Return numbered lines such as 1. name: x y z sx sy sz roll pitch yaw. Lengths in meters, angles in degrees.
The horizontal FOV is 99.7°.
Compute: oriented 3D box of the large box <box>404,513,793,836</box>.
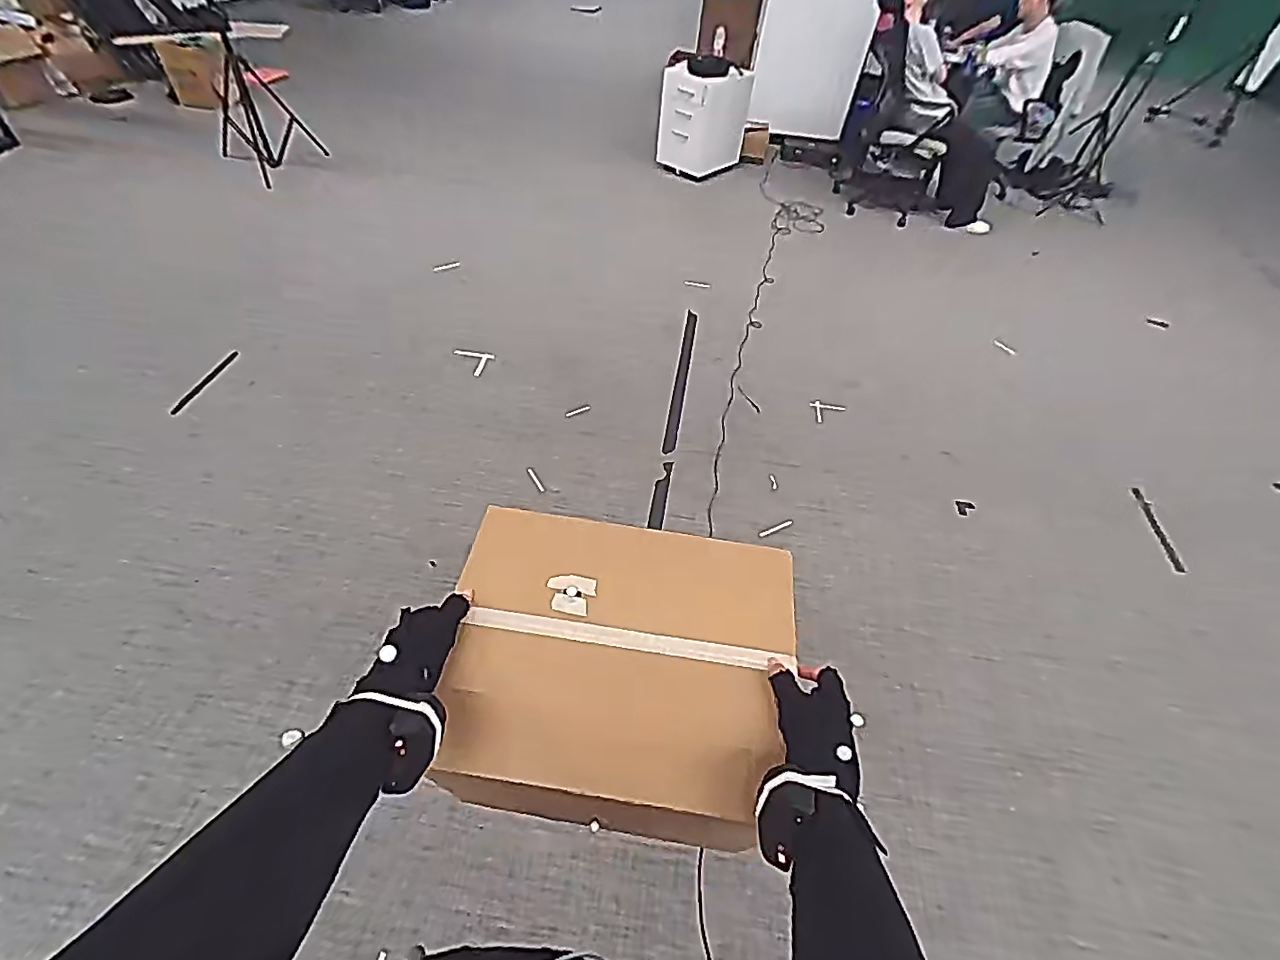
1. large box: -0.030 0.277 0.748 0.408 0.320 0.320 8 52 3
